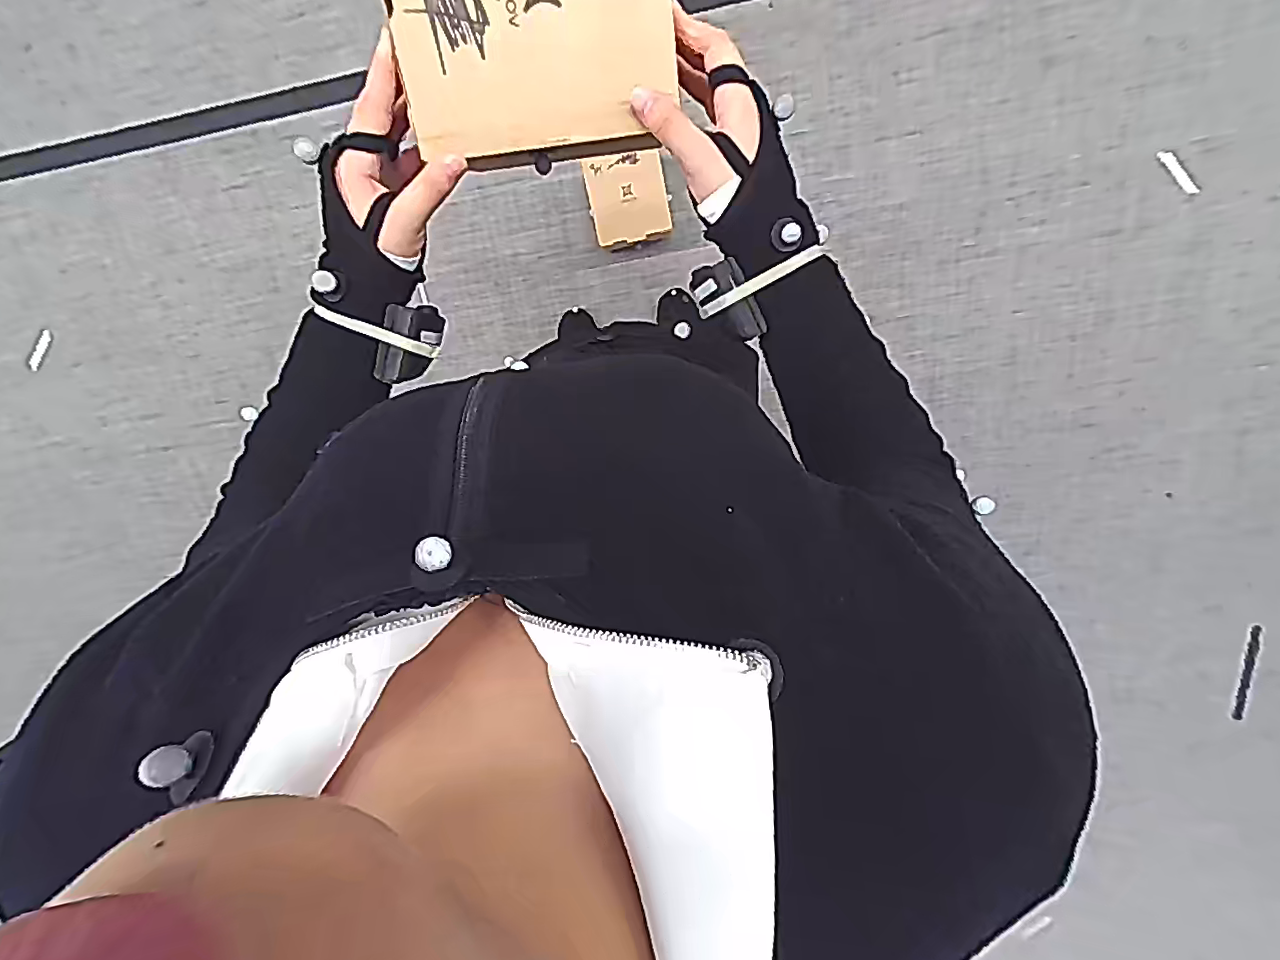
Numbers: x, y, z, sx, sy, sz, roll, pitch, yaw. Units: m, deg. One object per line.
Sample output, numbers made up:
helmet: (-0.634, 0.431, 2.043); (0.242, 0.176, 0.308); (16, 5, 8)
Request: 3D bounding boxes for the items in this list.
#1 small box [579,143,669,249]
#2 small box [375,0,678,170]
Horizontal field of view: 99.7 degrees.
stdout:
small box: (-0.028, -0.627, 1.217); (0.168, 0.176, 0.179); (-11, 110, 5)
small box: (-0.072, -0.325, 0.384); (0.179, 0.176, 0.168); (-7, 118, 0)
